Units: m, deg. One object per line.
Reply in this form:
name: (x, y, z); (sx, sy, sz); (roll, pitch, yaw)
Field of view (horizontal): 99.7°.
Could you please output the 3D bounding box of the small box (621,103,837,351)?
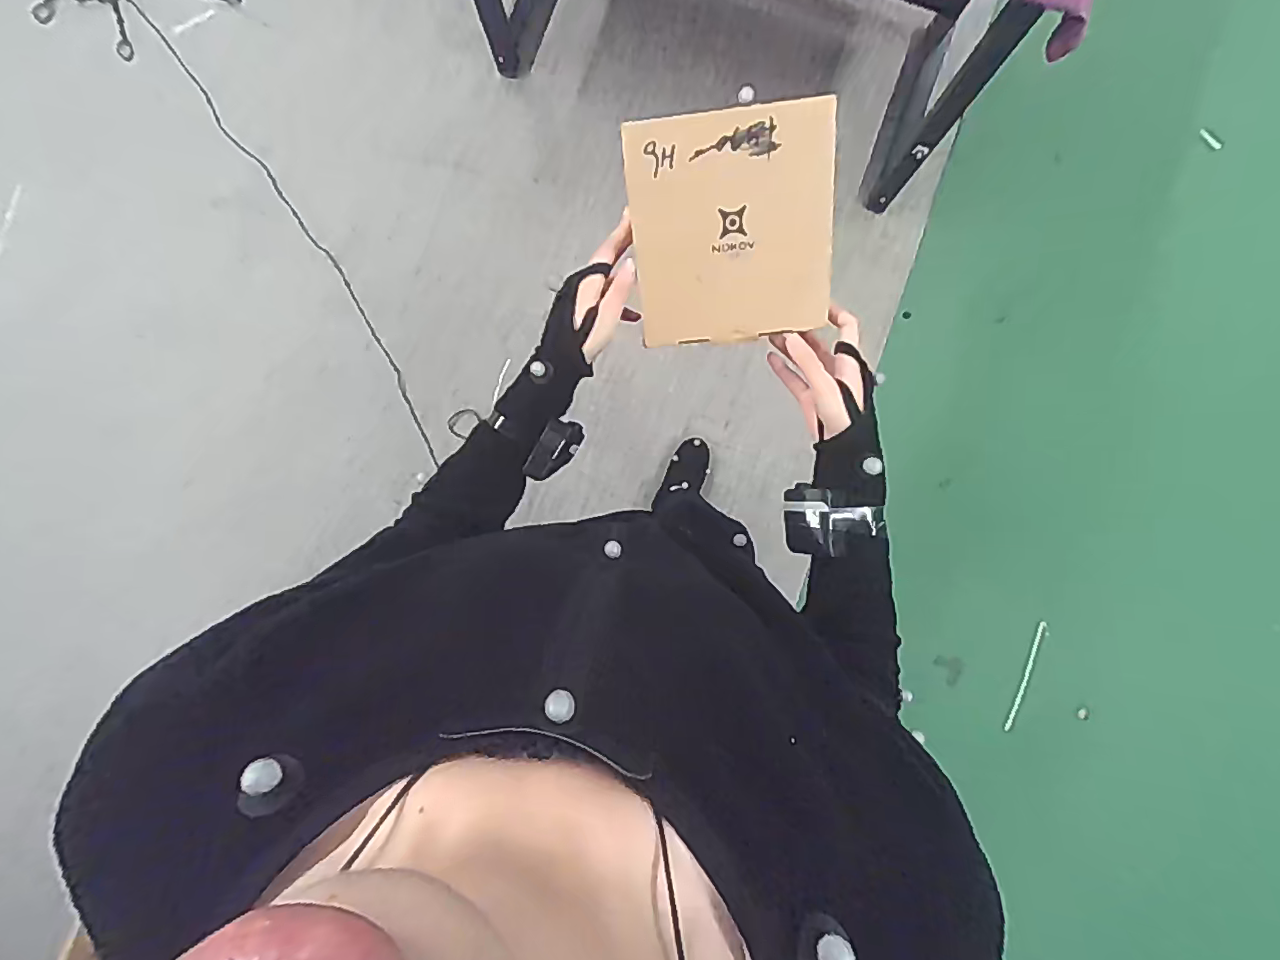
small box: (0.076, -0.238, 0.517); (0.168, 0.176, 0.179); (-5, 118, 4)
